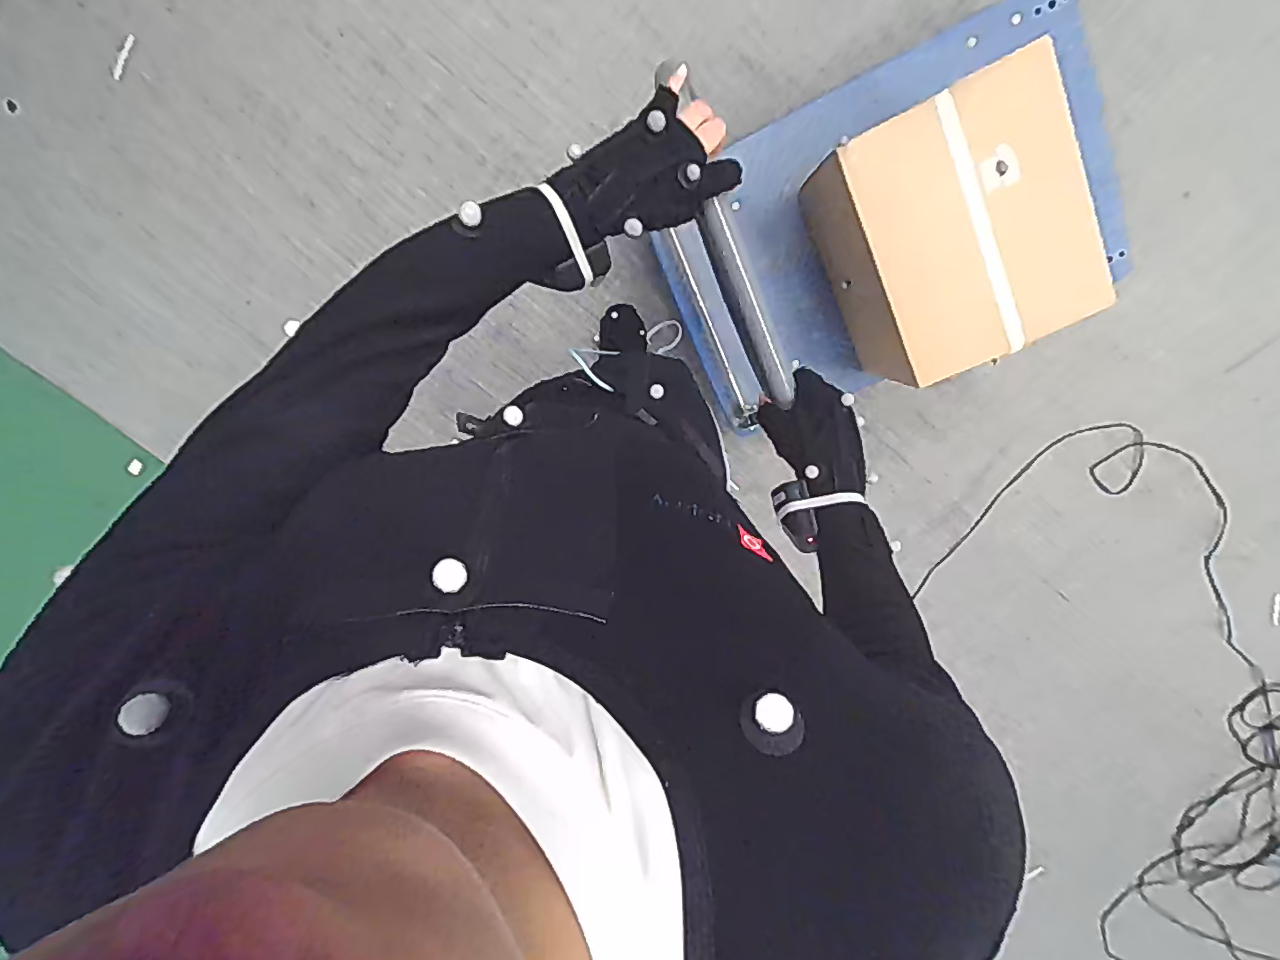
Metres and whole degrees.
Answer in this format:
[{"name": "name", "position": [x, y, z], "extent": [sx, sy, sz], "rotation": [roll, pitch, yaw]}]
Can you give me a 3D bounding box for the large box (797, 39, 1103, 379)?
[{"name": "large box", "position": [0.524, -0.440, 0.982], "extent": [0.320, 0.320, 0.408], "rotation": [-23, 102, 11]}]
